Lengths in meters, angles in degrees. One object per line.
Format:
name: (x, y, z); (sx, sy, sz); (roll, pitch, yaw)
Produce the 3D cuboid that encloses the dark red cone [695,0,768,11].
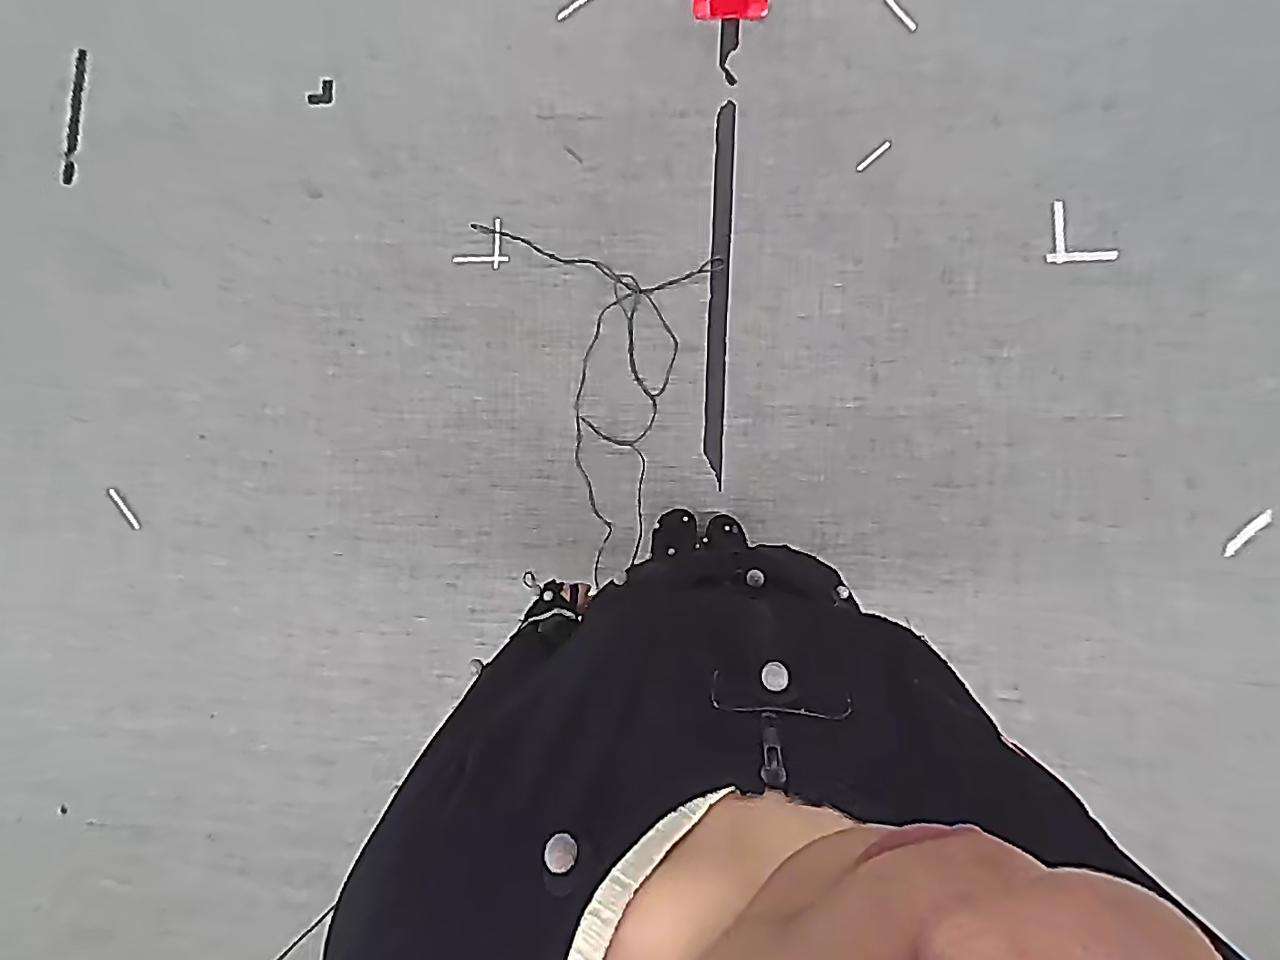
dark red cone: (0.231, -1.340, 1.255); (0.201, 0.394, 0.202); (1, 88, 4)
